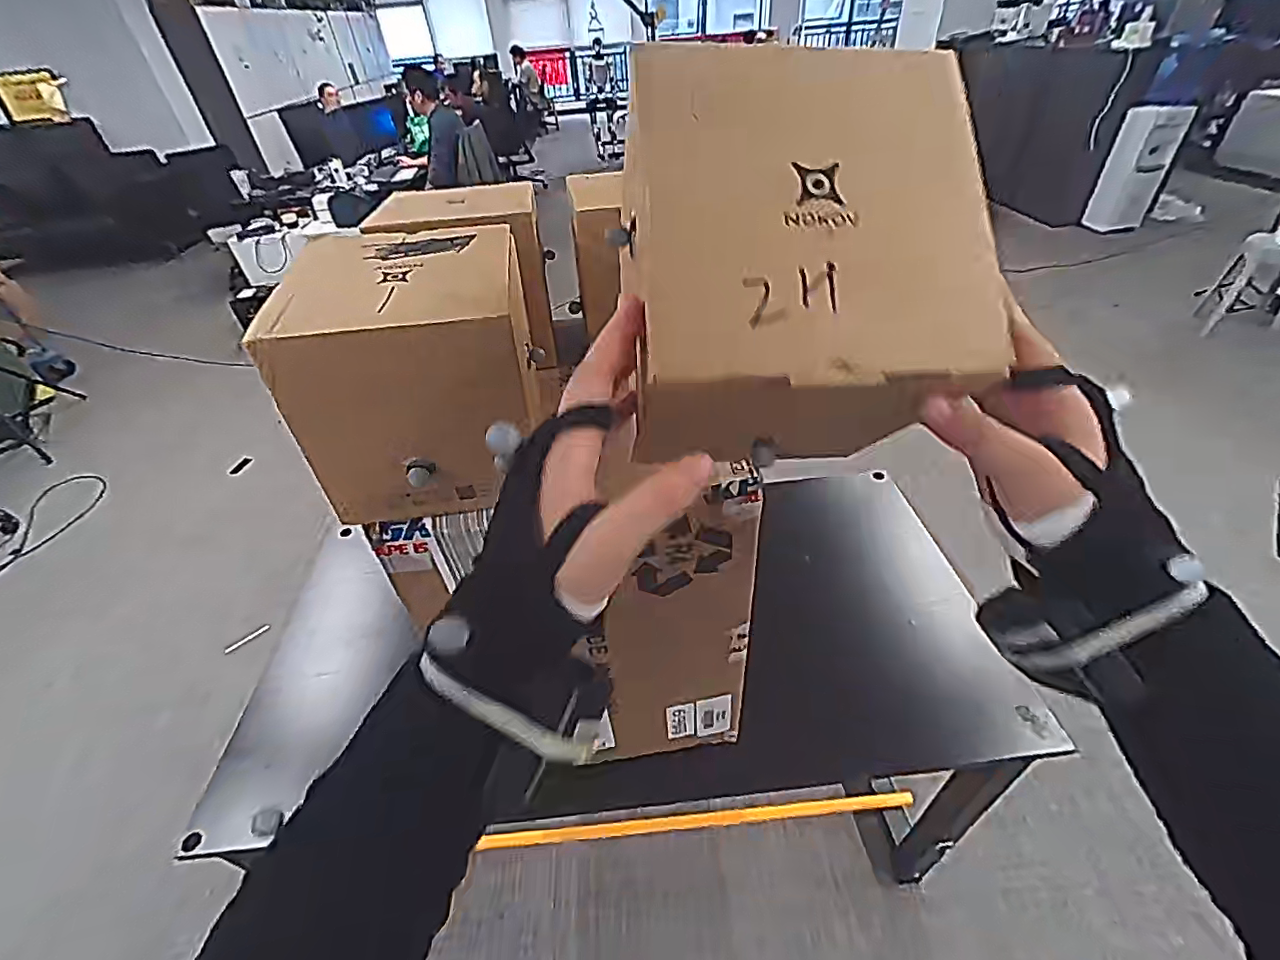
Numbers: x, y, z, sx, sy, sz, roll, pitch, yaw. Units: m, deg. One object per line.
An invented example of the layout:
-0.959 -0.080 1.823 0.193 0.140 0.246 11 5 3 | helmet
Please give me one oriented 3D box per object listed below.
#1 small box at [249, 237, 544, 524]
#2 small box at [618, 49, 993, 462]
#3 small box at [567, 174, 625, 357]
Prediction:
-0.176 -0.087 0.459 0.168 0.176 0.179 -8 43 -6 | small box
0.073 -0.118 0.339 0.168 0.176 0.179 -2 78 -4 | small box
0.007 -0.255 0.644 0.168 0.176 0.179 -7 40 -6 | small box
